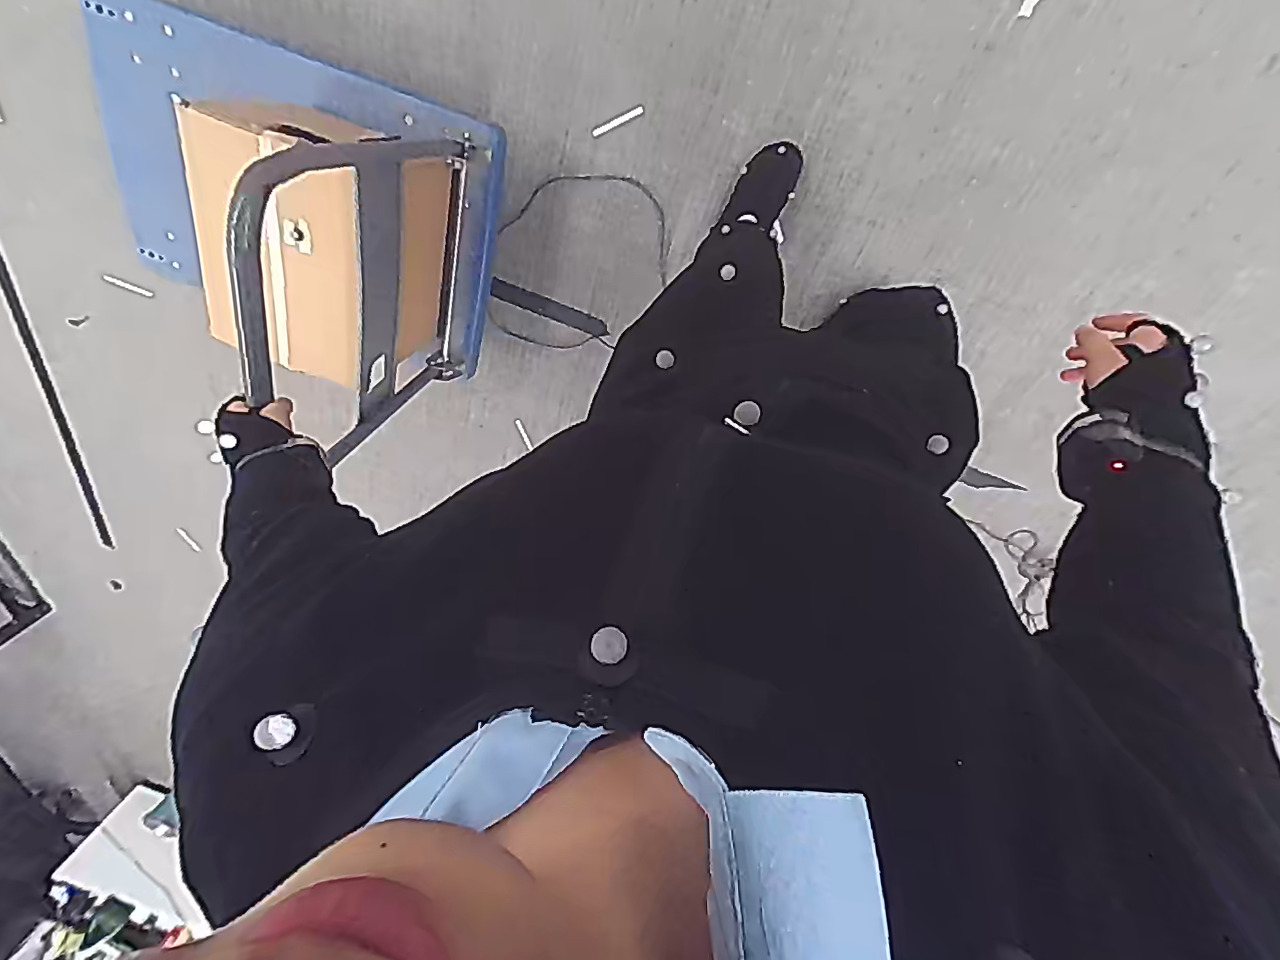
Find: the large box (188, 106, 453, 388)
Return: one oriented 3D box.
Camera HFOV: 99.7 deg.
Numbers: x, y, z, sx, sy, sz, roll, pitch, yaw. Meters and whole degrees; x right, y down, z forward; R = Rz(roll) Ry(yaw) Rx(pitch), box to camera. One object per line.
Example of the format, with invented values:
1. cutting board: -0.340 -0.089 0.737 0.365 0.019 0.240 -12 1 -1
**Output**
1. large box: -0.603 -0.461 1.089 0.320 0.320 0.408 20 123 -2
